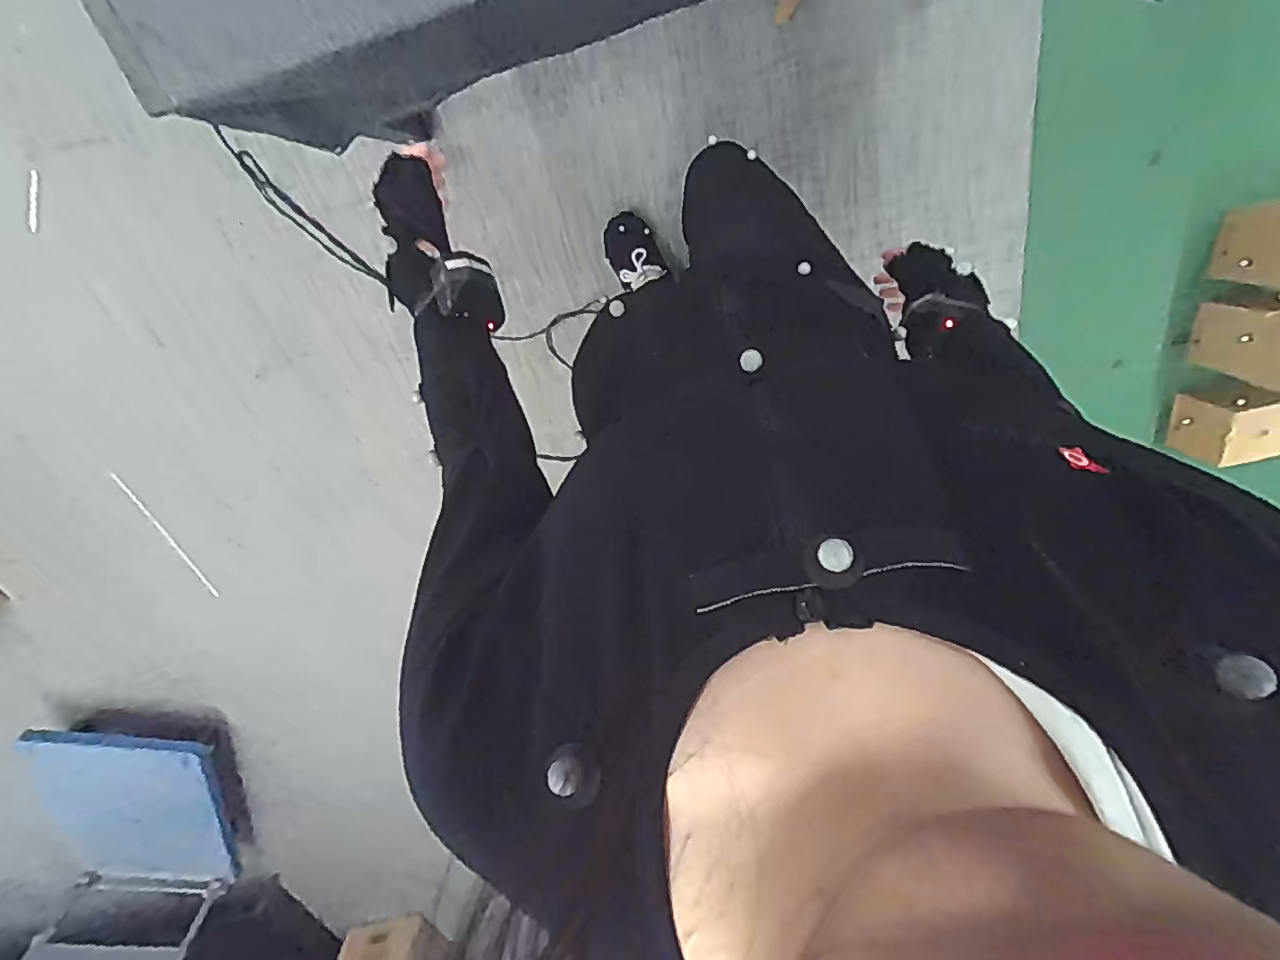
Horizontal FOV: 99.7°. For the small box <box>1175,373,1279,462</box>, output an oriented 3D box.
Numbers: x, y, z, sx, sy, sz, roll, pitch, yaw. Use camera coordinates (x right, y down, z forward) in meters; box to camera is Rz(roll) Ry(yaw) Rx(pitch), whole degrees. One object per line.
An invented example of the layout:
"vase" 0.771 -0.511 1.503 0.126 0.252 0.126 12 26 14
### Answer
"small box" 1.619 -0.173 1.454 0.179 0.176 0.168 -14 118 7
